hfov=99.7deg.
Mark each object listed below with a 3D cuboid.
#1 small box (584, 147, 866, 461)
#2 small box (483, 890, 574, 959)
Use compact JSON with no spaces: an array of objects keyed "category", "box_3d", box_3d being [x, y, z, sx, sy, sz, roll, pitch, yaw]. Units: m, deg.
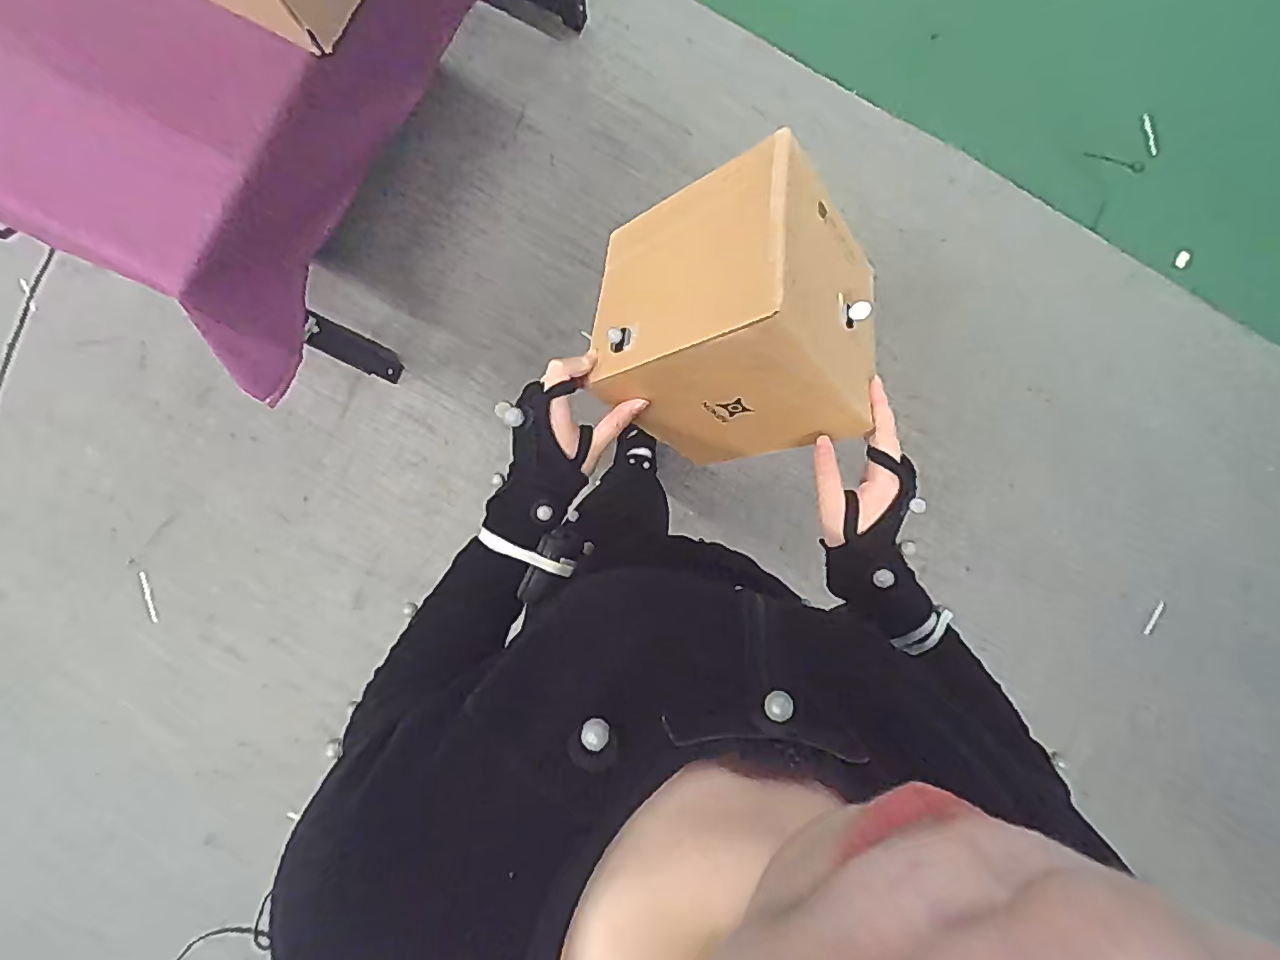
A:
[{"category":"small box","box_3d":[0.077,-0.135,0.468,0.179,0.168,0.176,-11,61,41]},{"category":"small box","box_3d":[-0.262,1.082,1.227,0.179,0.176,0.168,17,88,-1]}]
